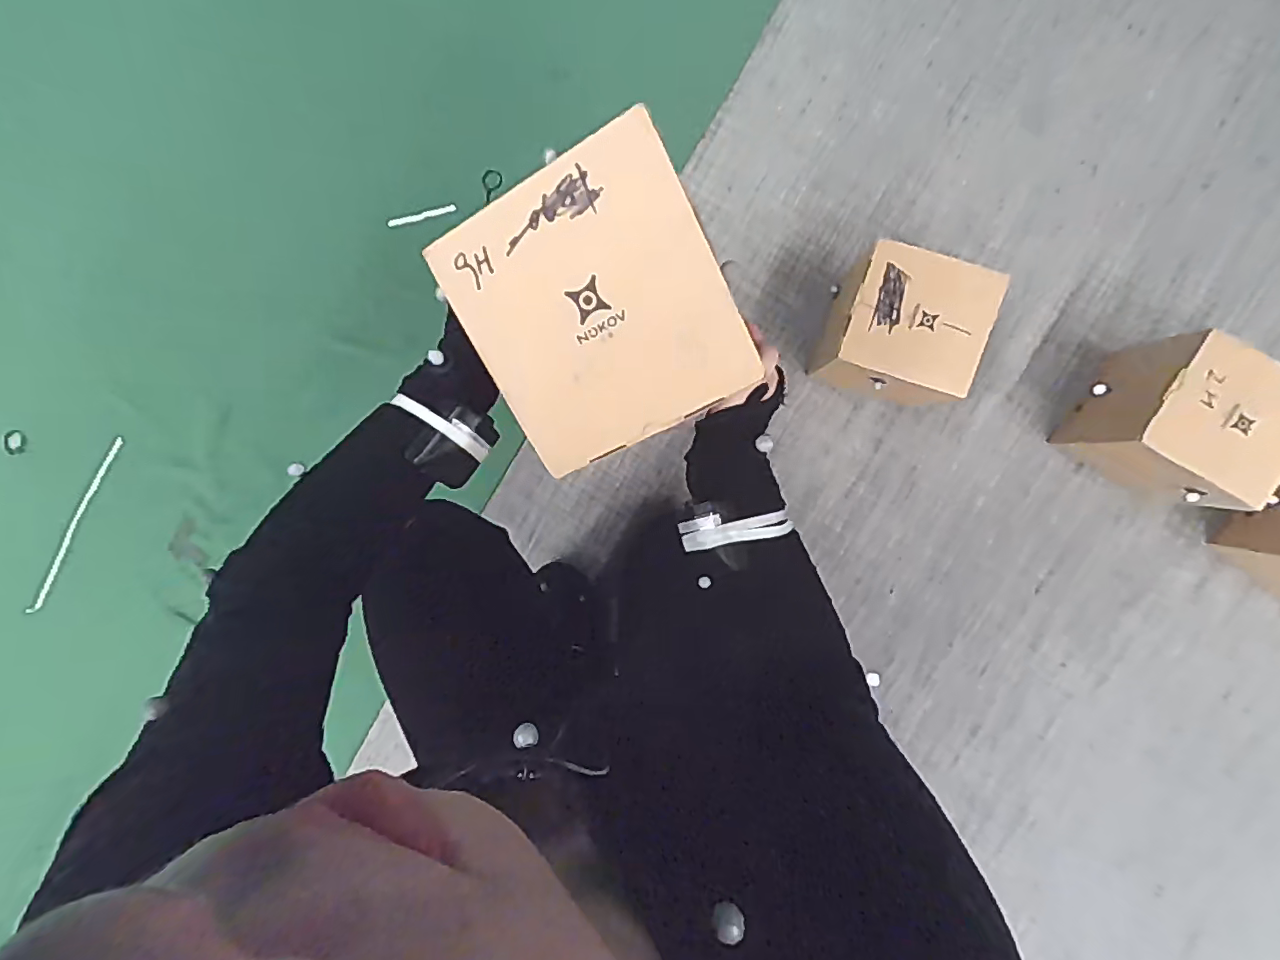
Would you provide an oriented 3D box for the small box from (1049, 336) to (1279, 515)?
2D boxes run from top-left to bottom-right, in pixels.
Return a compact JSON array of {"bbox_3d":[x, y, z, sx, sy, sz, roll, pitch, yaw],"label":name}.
[{"bbox_3d":[0.739,-0.073,0.753,0.179,0.176,0.168,32,94,3],"label":"small box"}]

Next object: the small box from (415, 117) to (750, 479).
[{"bbox_3d":[-0.024,-0.130,0.418,0.168,0.176,0.179,-23,106,16],"label":"small box"}]

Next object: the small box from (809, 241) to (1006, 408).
[{"bbox_3d":[0.364,-0.208,0.776,0.179,0.176,0.168,19,94,3],"label":"small box"}]
